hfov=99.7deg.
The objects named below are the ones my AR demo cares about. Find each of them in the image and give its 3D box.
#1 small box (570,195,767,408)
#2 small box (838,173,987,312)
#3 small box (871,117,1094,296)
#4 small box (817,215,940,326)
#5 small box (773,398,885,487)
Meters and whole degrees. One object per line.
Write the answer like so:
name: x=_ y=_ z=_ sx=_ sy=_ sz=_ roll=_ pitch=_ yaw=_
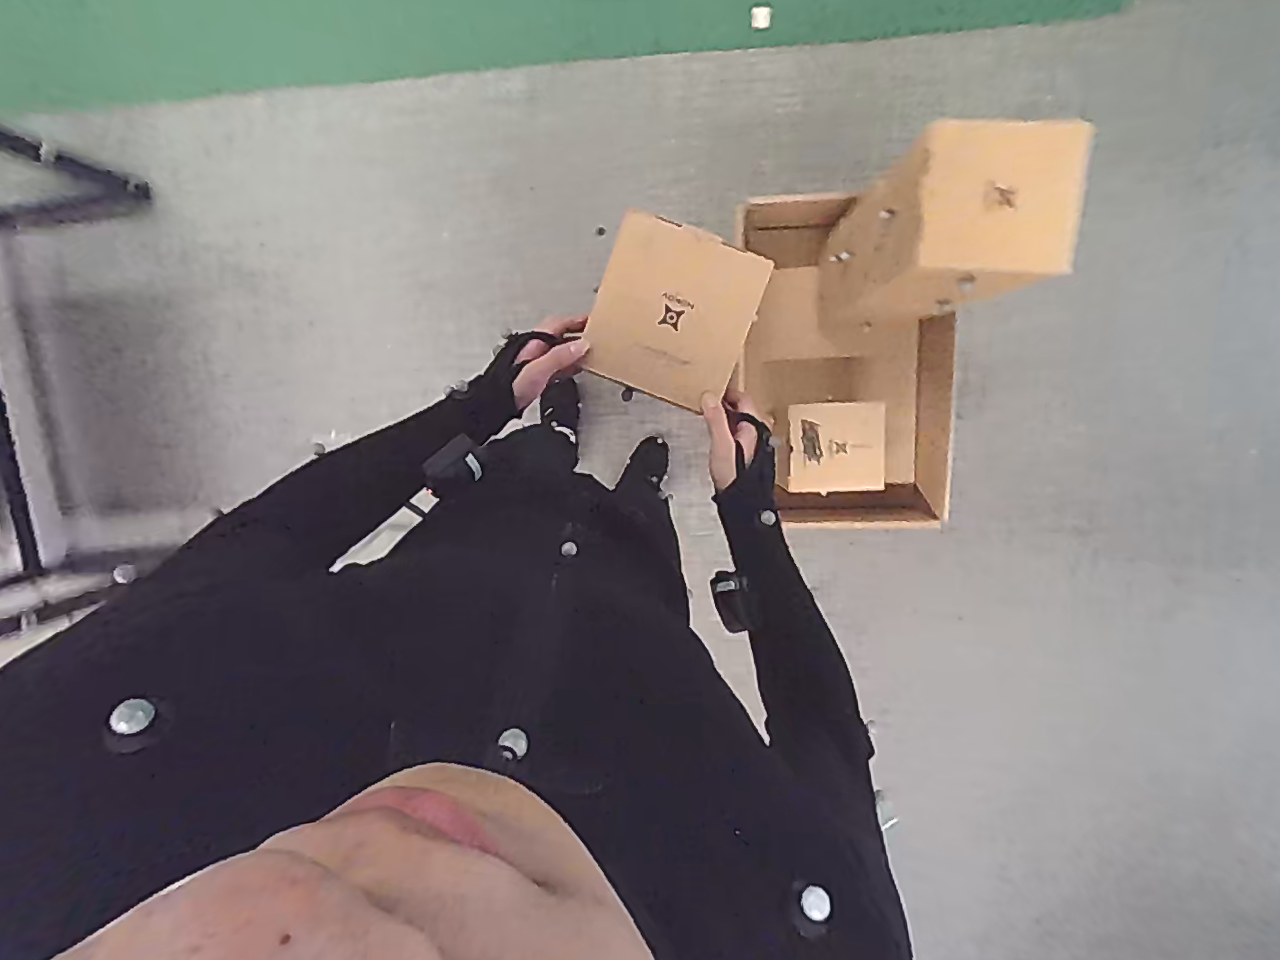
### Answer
small box: x=0.026 y=-0.196 z=0.646 sx=0.168 sy=0.176 sz=0.179 roll=19 pitch=98 yaw=-4
small box: x=0.438 y=-0.369 z=0.867 sx=0.179 sy=0.176 sz=0.168 roll=3 pitch=98 yaw=4
small box: x=0.428 y=-0.342 z=0.707 sx=0.179 sy=0.176 sz=0.168 roll=4 pitch=99 yaw=4
small box: x=0.450 y=-0.391 z=1.028 sx=0.179 sy=0.176 sz=0.168 roll=0 pitch=97 yaw=4
small box: x=0.365 y=-0.078 z=1.077 sx=0.179 sy=0.176 sz=0.168 roll=-1 pitch=98 yaw=3
